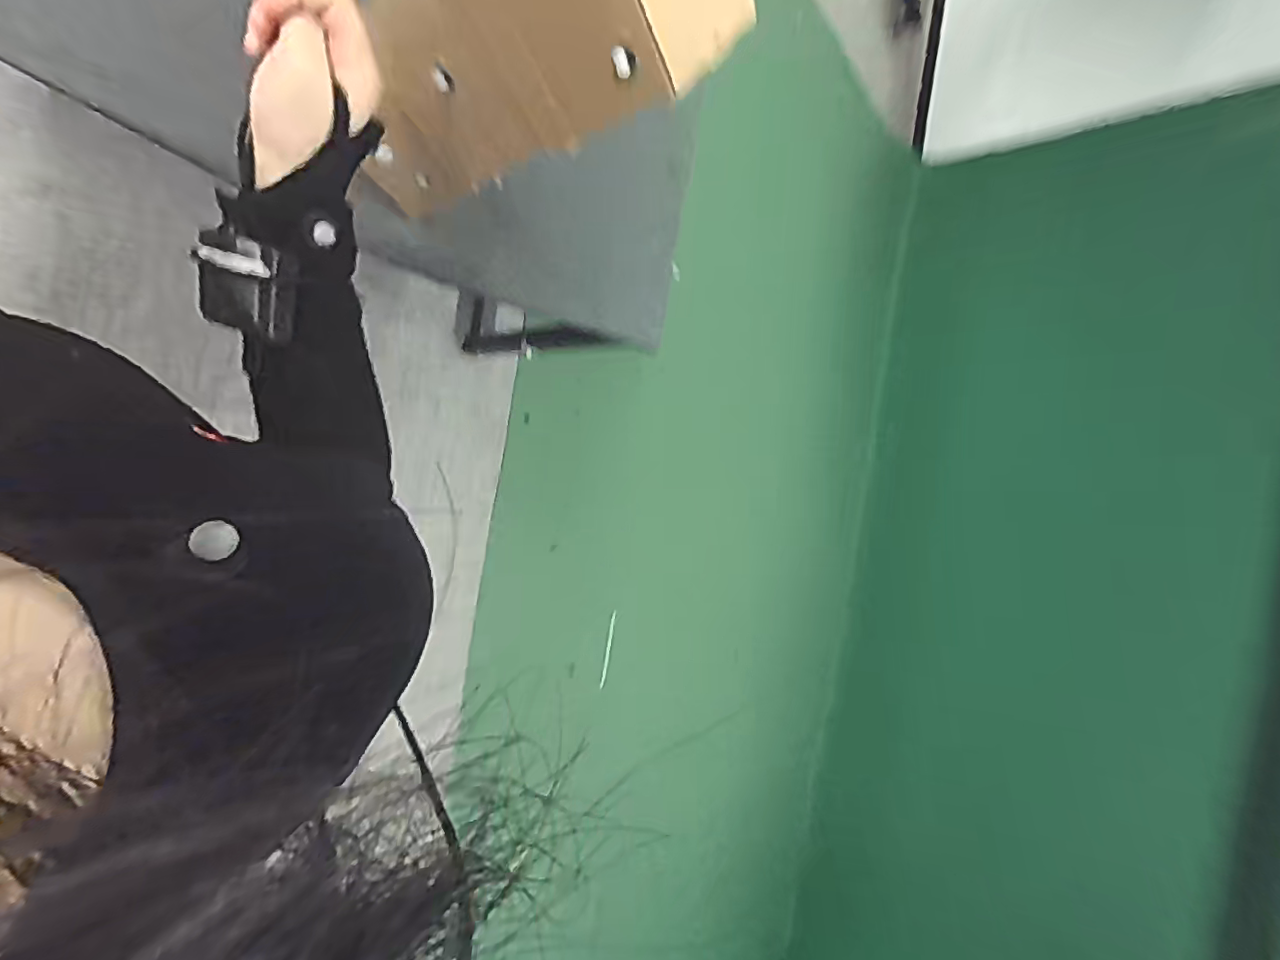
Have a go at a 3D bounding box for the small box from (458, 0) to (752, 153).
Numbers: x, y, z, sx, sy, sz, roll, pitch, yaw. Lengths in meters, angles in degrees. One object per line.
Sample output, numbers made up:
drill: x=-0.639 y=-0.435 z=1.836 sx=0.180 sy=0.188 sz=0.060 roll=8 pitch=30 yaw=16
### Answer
small box: x=-0.035 y=-0.425 z=0.464 sx=0.168 sy=0.176 sz=0.179 roll=-58 pitch=133 yaw=-25

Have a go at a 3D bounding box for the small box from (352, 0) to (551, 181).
small box: x=-0.156 y=-0.446 z=0.571 sx=0.168 sy=0.176 sz=0.179 roll=-57 pitch=132 yaw=-25
